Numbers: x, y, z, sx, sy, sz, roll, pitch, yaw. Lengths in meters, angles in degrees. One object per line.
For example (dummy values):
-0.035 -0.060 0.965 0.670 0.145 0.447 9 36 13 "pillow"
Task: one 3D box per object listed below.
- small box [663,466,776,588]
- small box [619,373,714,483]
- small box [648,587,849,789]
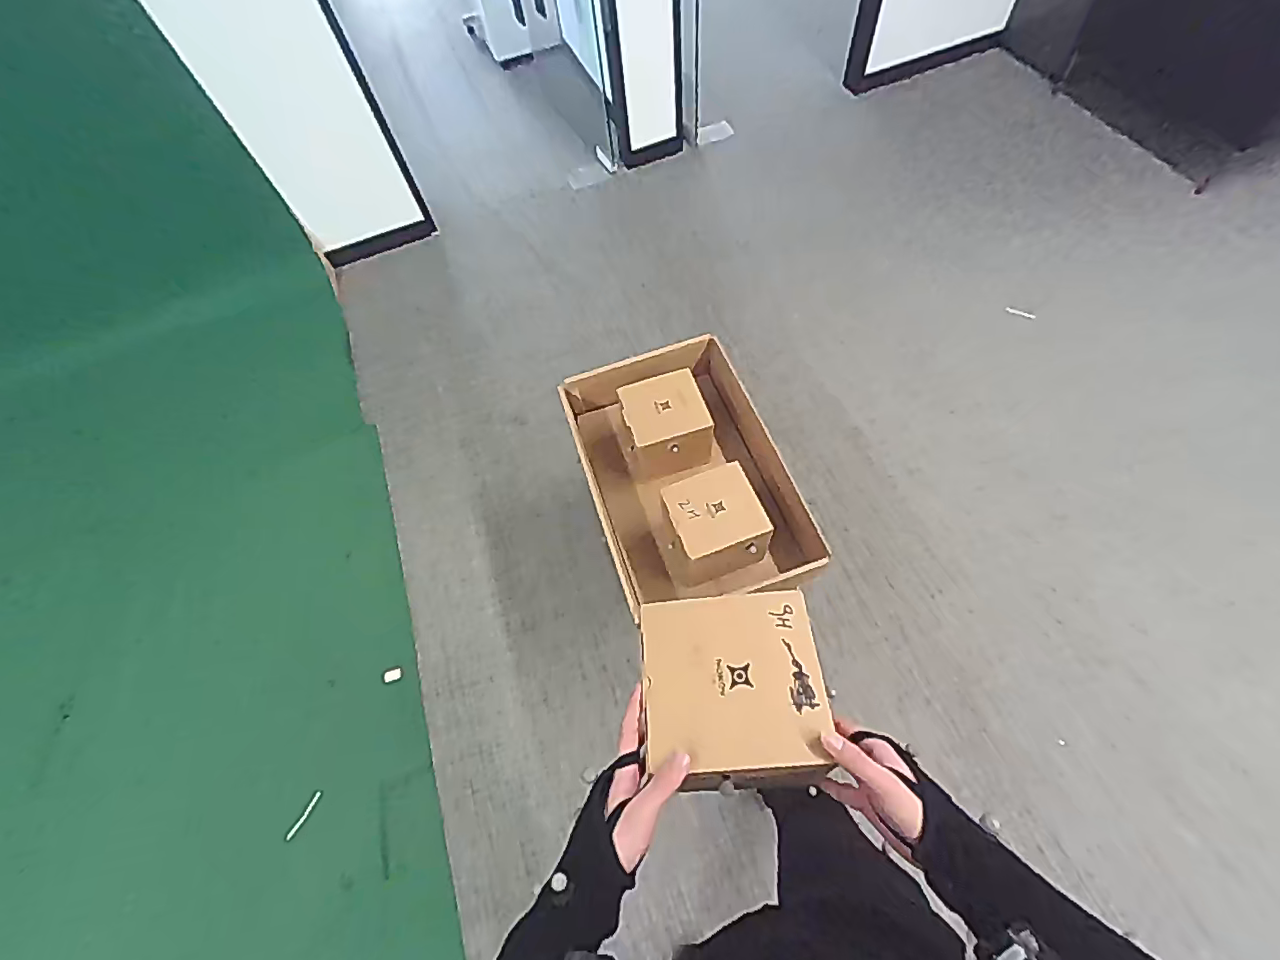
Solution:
0.156 0.101 1.118 0.179 0.176 0.168 -20 61 -5 "small box"
0.062 -0.114 1.247 0.179 0.176 0.168 -16 62 -4 "small box"
0.108 0.233 0.593 0.179 0.176 0.168 -6 54 4 "small box"
